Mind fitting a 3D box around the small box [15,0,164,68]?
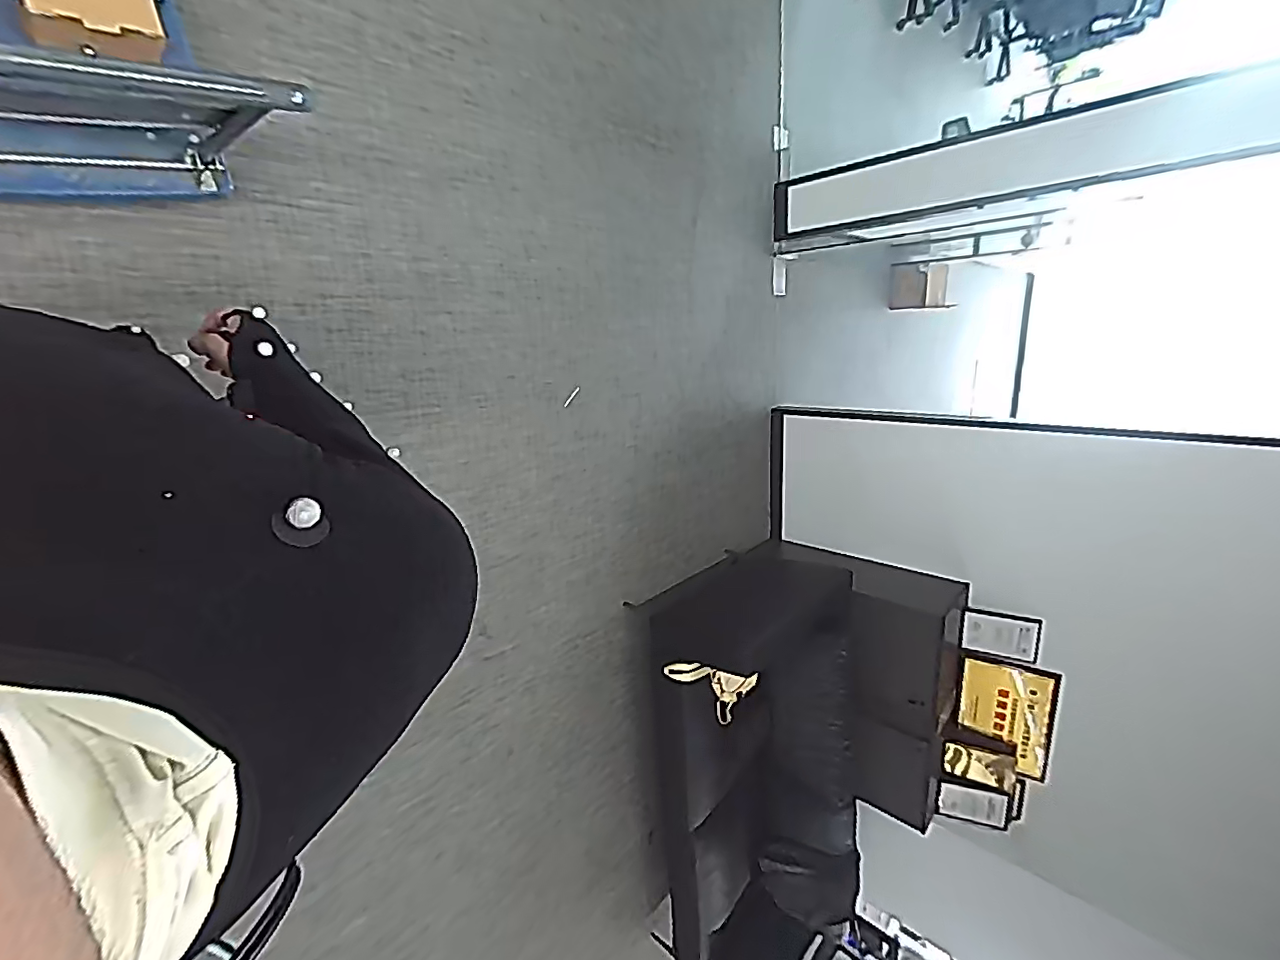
[{"bbox_3d":[-0.935,-0.831,0.897,0.168,0.176,0.179,-23,115,-42],"label":"small box"}]
